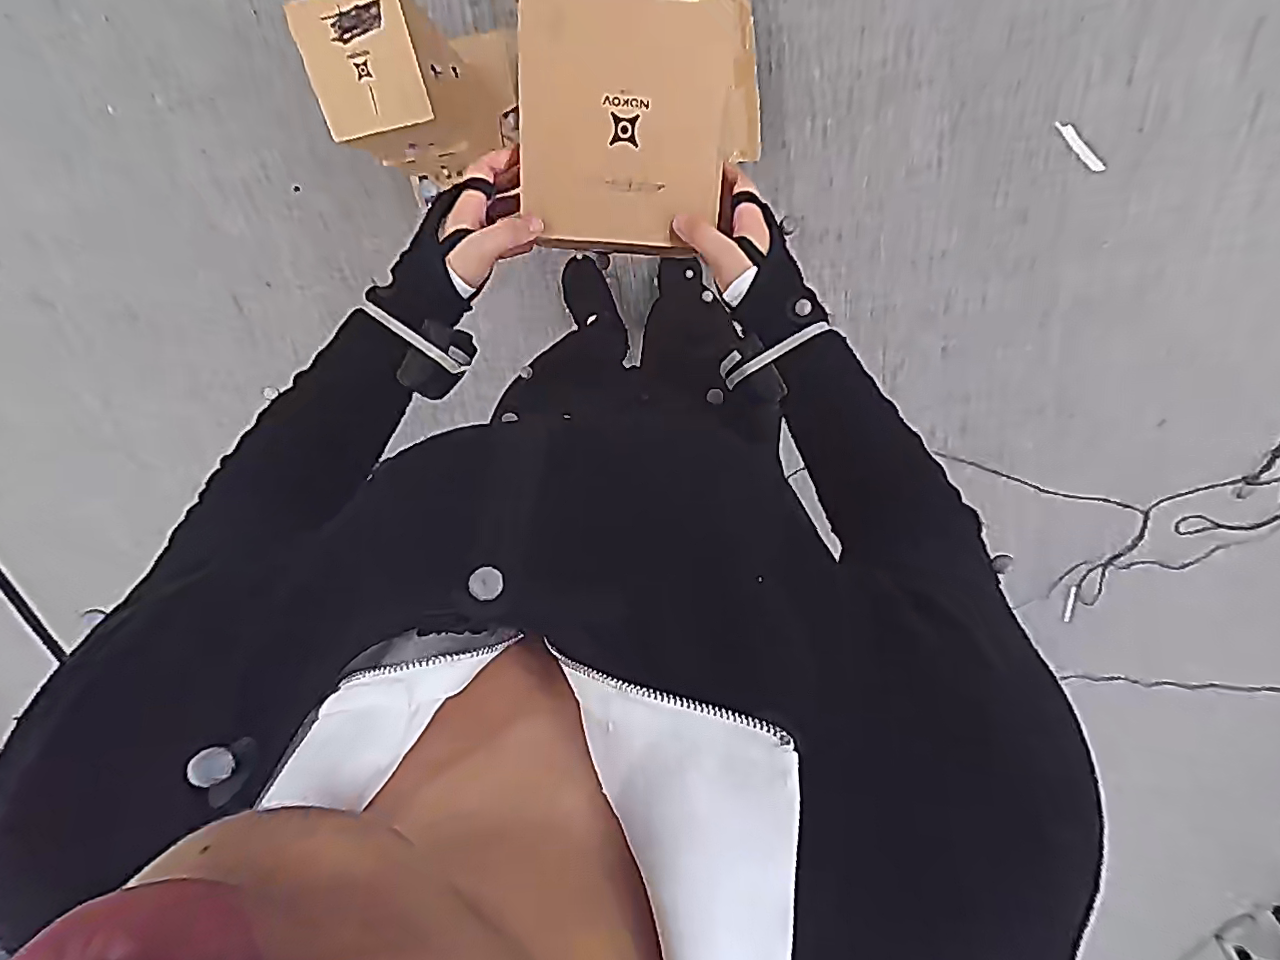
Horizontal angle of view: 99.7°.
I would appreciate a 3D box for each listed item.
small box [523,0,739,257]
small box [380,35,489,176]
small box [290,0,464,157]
[{"bbox_3d":[-0.017,-0.311,0.502,0.168,0.176,0.179,1,110,-5],"label":"small box"},{"bbox_3d":[-0.403,-0.696,1.024,0.168,0.176,0.179,-9,114,3],"label":"small box"},{"bbox_3d":[-0.406,-0.643,0.868,0.168,0.176,0.179,-10,114,4],"label":"small box"}]
